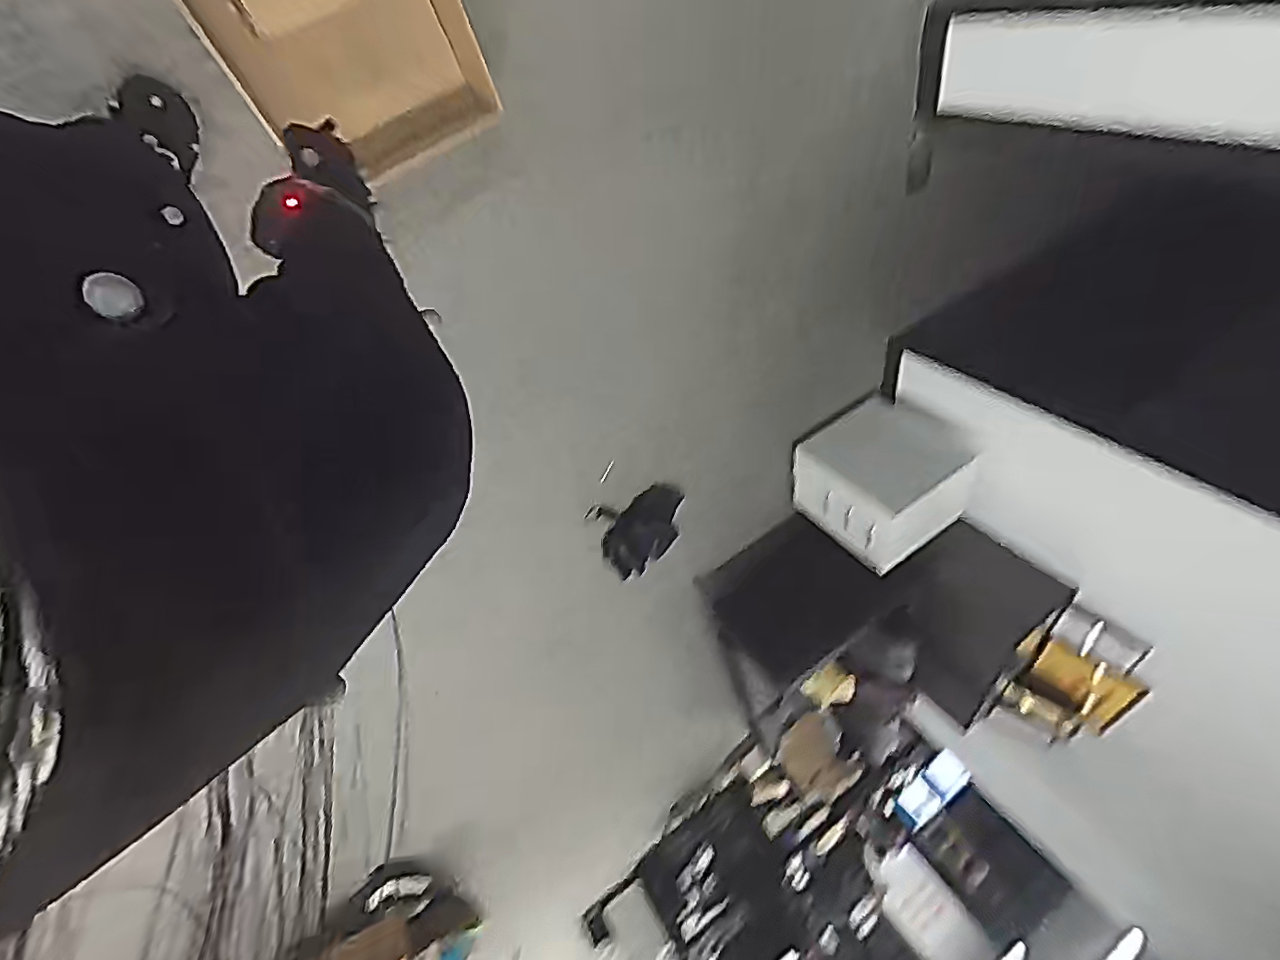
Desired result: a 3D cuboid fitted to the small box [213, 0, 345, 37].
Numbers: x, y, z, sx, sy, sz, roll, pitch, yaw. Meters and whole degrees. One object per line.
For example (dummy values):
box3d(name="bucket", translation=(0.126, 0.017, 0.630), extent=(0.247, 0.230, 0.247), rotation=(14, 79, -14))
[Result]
box3d(name="small box", translation=(-0.586, -0.800, 0.820), extent=(0.179, 0.176, 0.168), rotation=(-36, 140, -13))
